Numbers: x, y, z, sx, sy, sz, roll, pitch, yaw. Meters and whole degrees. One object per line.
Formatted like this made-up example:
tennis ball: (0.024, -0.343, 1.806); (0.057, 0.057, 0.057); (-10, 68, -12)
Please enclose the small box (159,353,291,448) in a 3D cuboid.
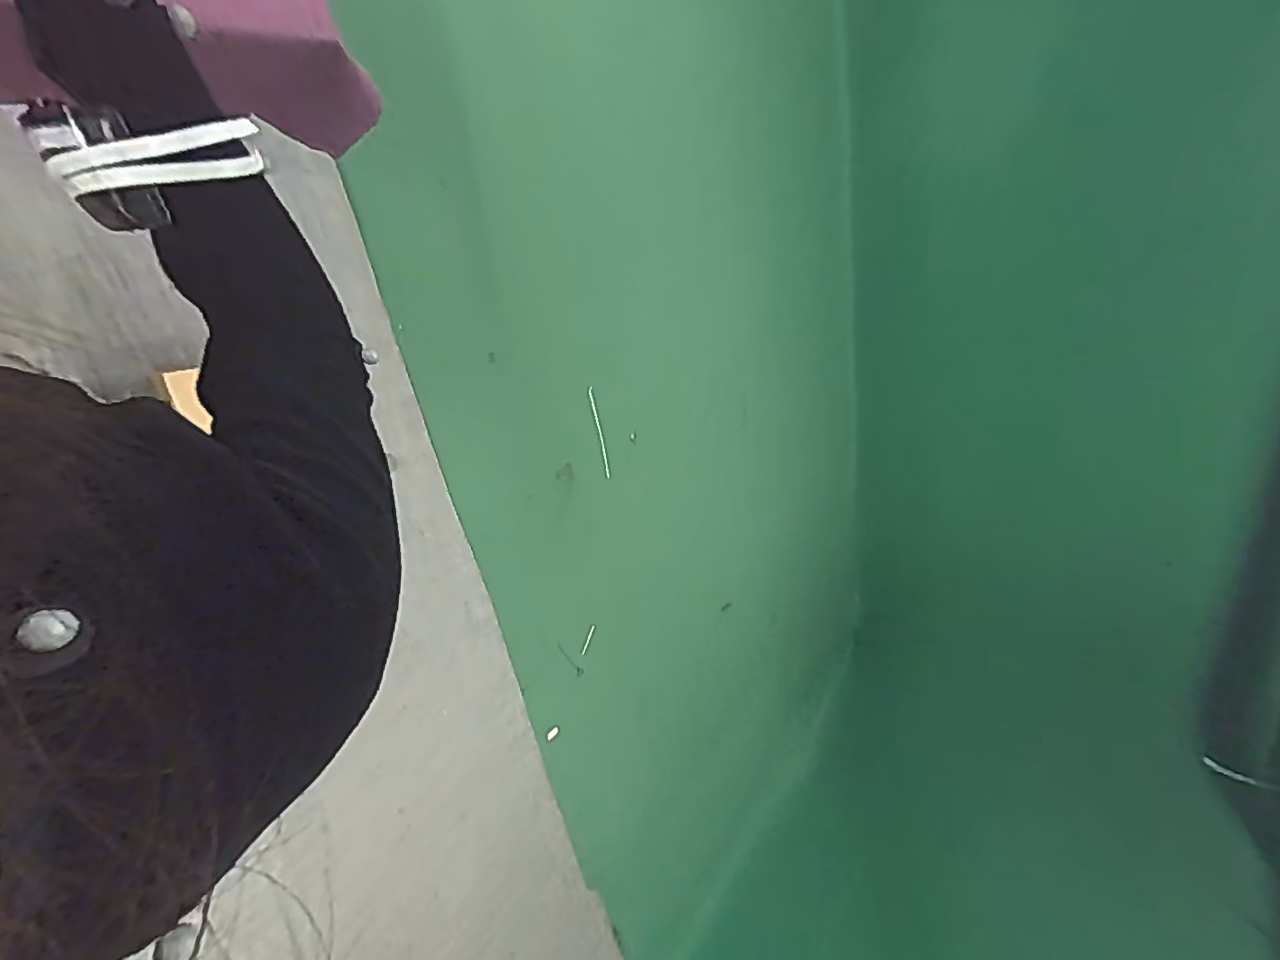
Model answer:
small box: (-0.904, -0.176, 1.174); (0.179, 0.176, 0.168); (-28, 118, -43)
